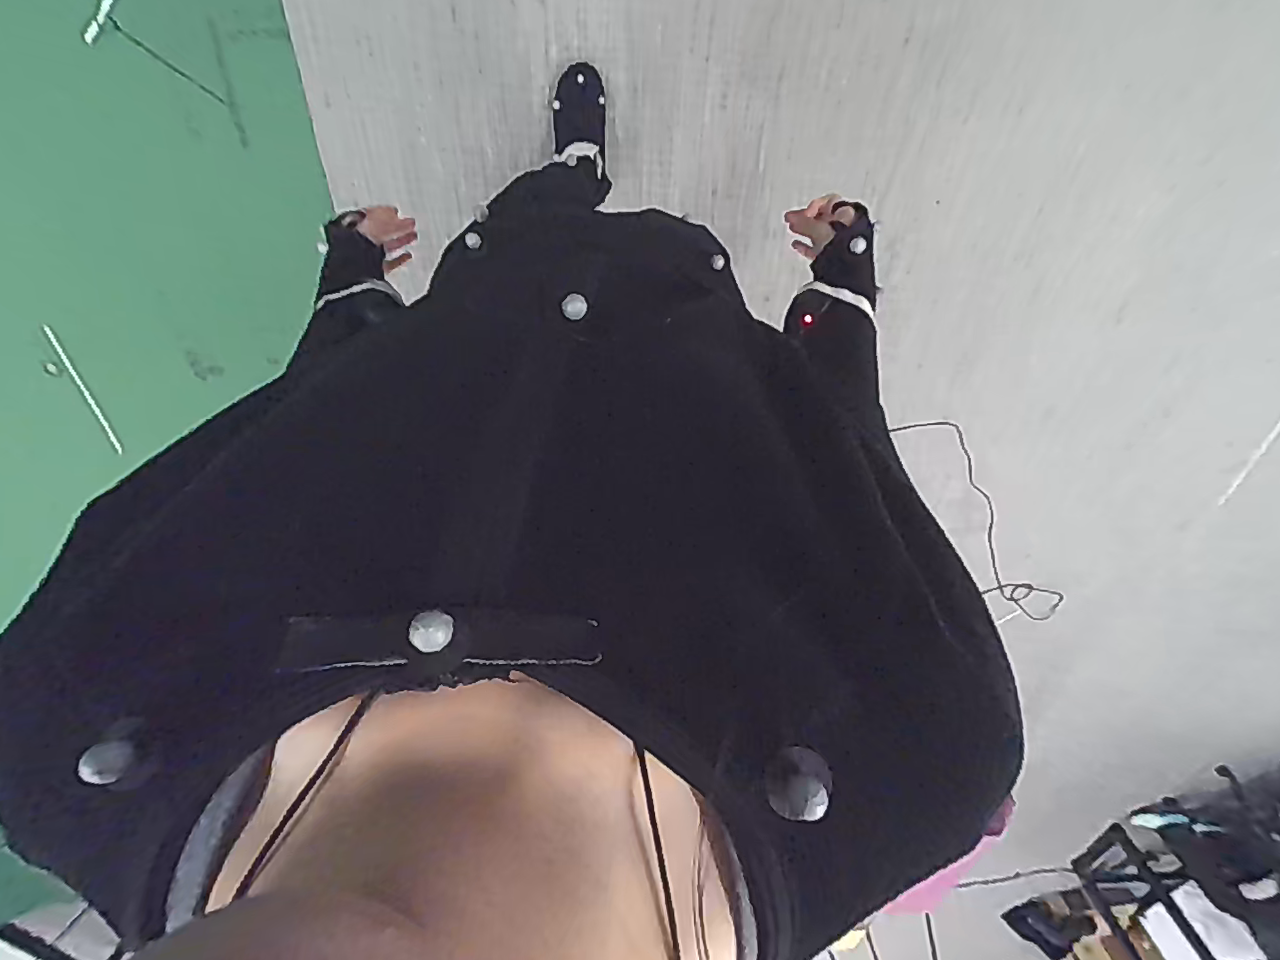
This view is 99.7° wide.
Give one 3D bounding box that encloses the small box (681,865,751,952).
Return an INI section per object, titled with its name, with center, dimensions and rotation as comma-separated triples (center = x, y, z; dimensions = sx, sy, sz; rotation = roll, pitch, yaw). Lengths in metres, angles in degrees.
[small box]
center = 0.220, 1.281, 1.623
dimensions = 0.168, 0.176, 0.179
rotation = 2, 125, -5
